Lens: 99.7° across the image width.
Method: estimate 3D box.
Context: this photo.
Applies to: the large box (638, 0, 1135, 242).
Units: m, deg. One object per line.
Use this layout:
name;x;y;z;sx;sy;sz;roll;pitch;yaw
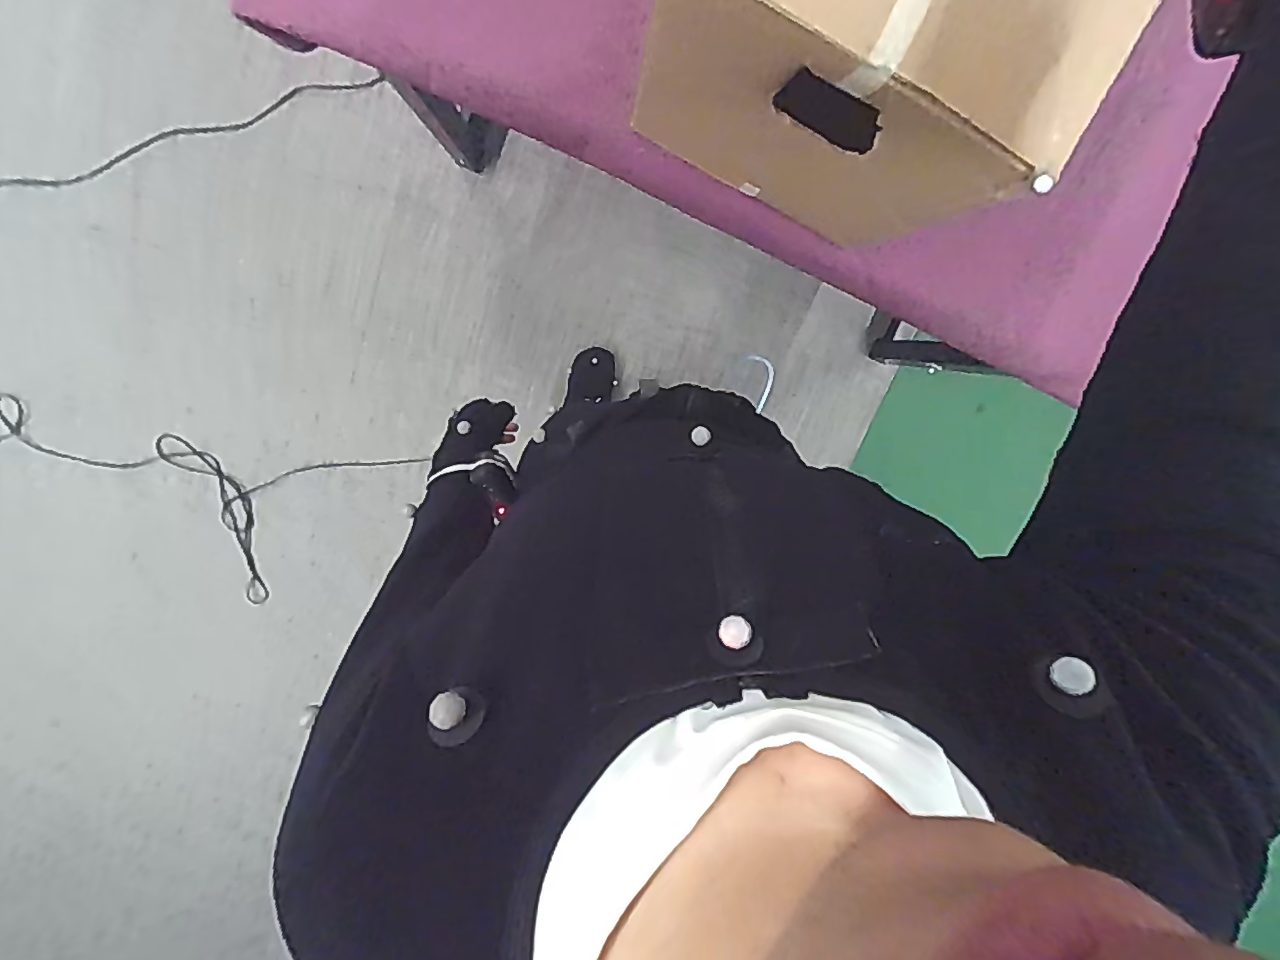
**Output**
large box;0.226;-0.495;0.483;0.320;0.320;0.408;24;102;-10
